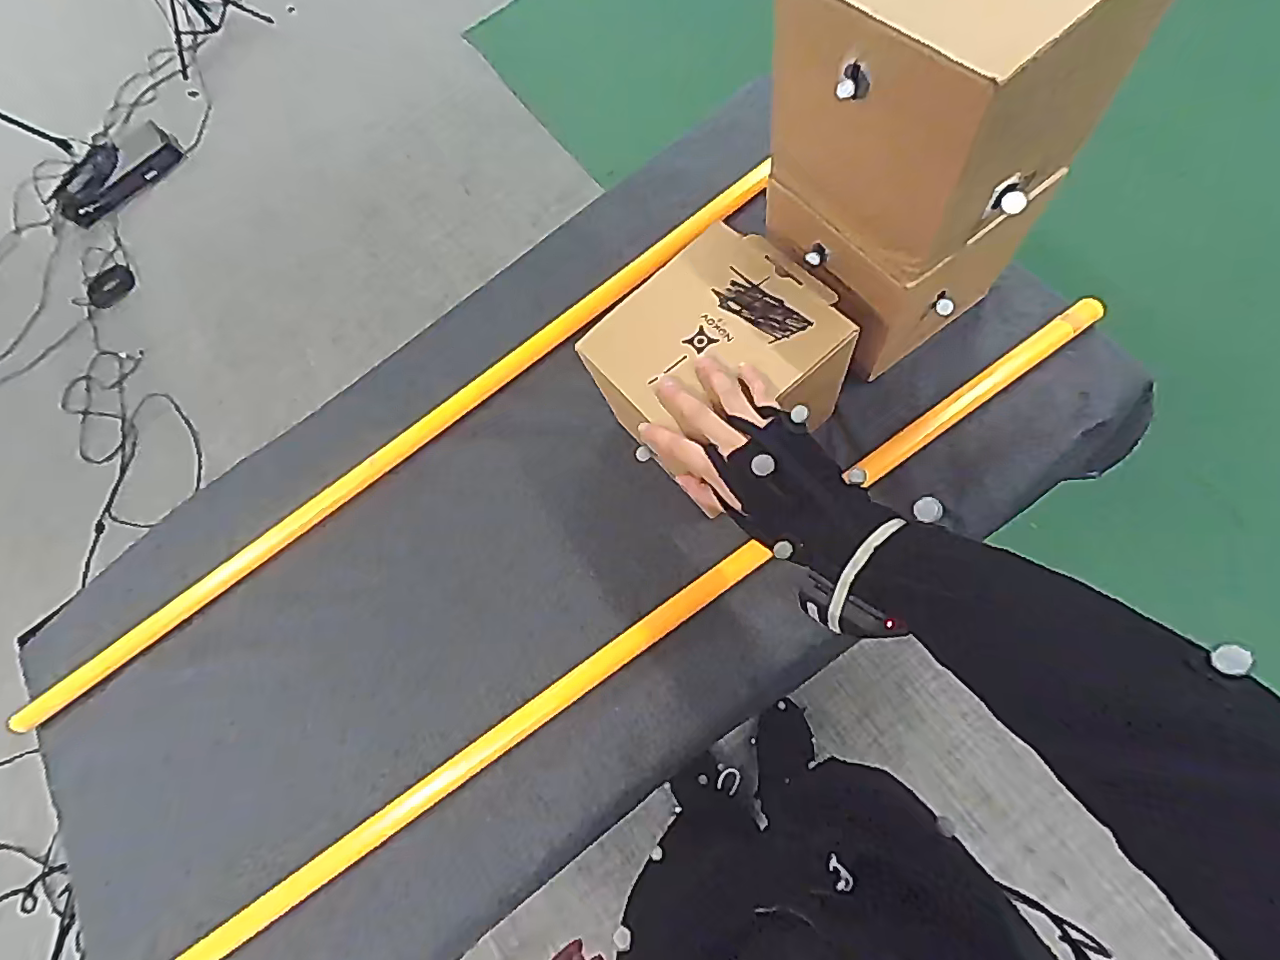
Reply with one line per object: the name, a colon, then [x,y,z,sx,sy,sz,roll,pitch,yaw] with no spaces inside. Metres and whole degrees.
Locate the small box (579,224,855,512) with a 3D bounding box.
small box: [0.074,-0.096,0.528,0.179,0.176,0.168,-41,68,-2]

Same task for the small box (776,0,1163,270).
small box: [0.213,-0.293,0.390,0.168,0.176,0.179,-39,69,-1]

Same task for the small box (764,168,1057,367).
small box: [0.244,-0.238,0.540,0.168,0.176,0.179,-37,68,-1]
